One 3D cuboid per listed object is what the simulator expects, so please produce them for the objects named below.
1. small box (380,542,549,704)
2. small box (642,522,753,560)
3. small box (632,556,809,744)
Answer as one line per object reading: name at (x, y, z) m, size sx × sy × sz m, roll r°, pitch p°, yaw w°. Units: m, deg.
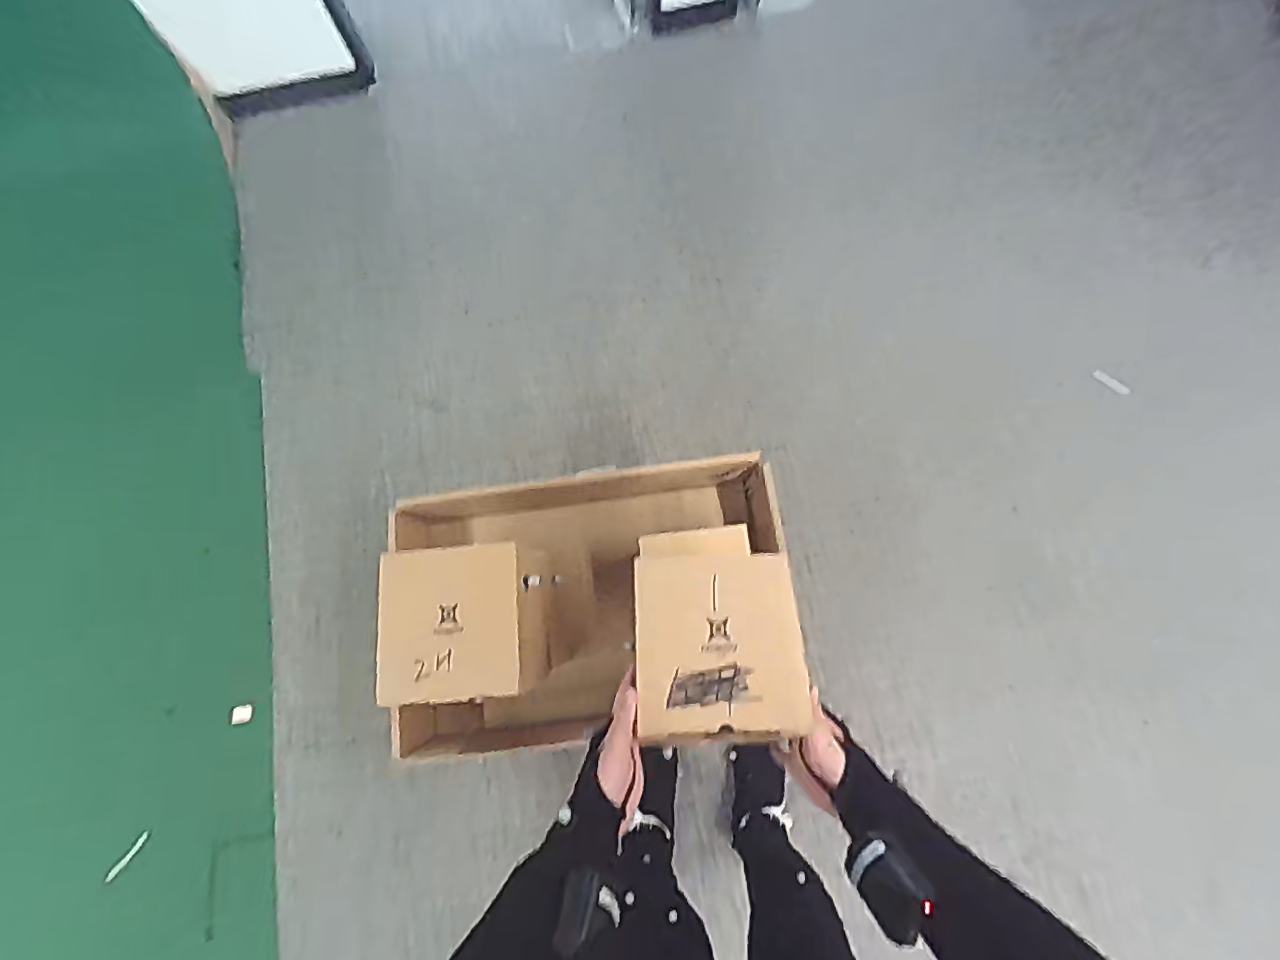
small box at (-0.219, 0.184, 0.712) m, size 0.168 × 0.176 × 0.179 m, roll -6°, pitch 77°, yaw 1°
small box at (0.092, 0.175, 0.873) m, size 0.168 × 0.176 × 0.179 m, roll -8°, pitch 77°, yaw 0°
small box at (0.078, 0.196, 0.603) m, size 0.168 × 0.176 × 0.179 m, roll -2°, pitch 61°, yaw 1°
